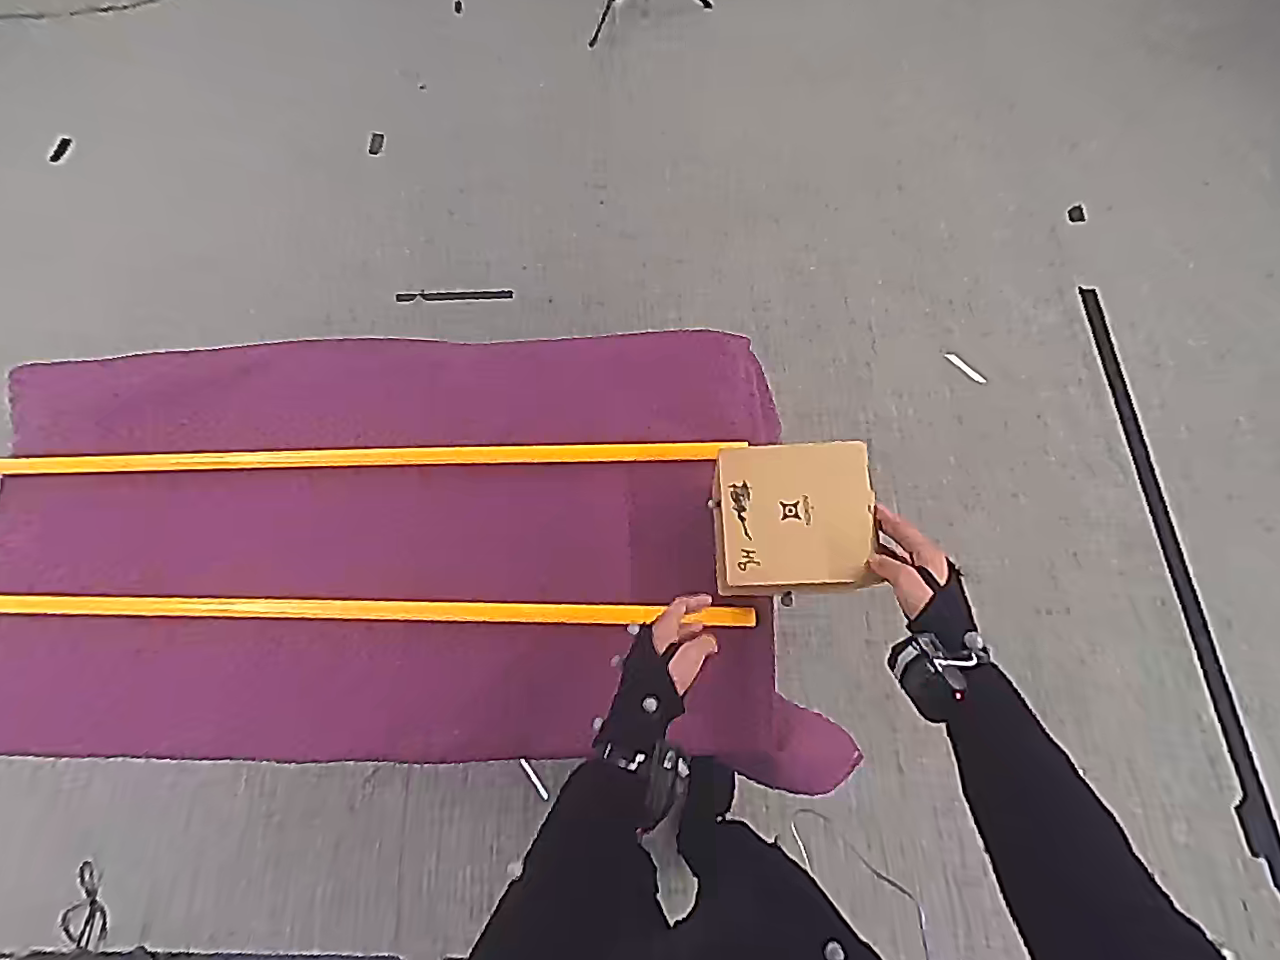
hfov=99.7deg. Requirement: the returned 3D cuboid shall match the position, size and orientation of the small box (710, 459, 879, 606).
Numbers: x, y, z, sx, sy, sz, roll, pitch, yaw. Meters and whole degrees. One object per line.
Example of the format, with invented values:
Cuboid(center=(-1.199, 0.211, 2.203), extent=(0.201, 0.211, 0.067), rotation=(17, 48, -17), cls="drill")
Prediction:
Cuboid(center=(0.186, 0.075, 0.706), extent=(0.179, 0.176, 0.168), rotation=(-2, 74, 4), cls="small box")
